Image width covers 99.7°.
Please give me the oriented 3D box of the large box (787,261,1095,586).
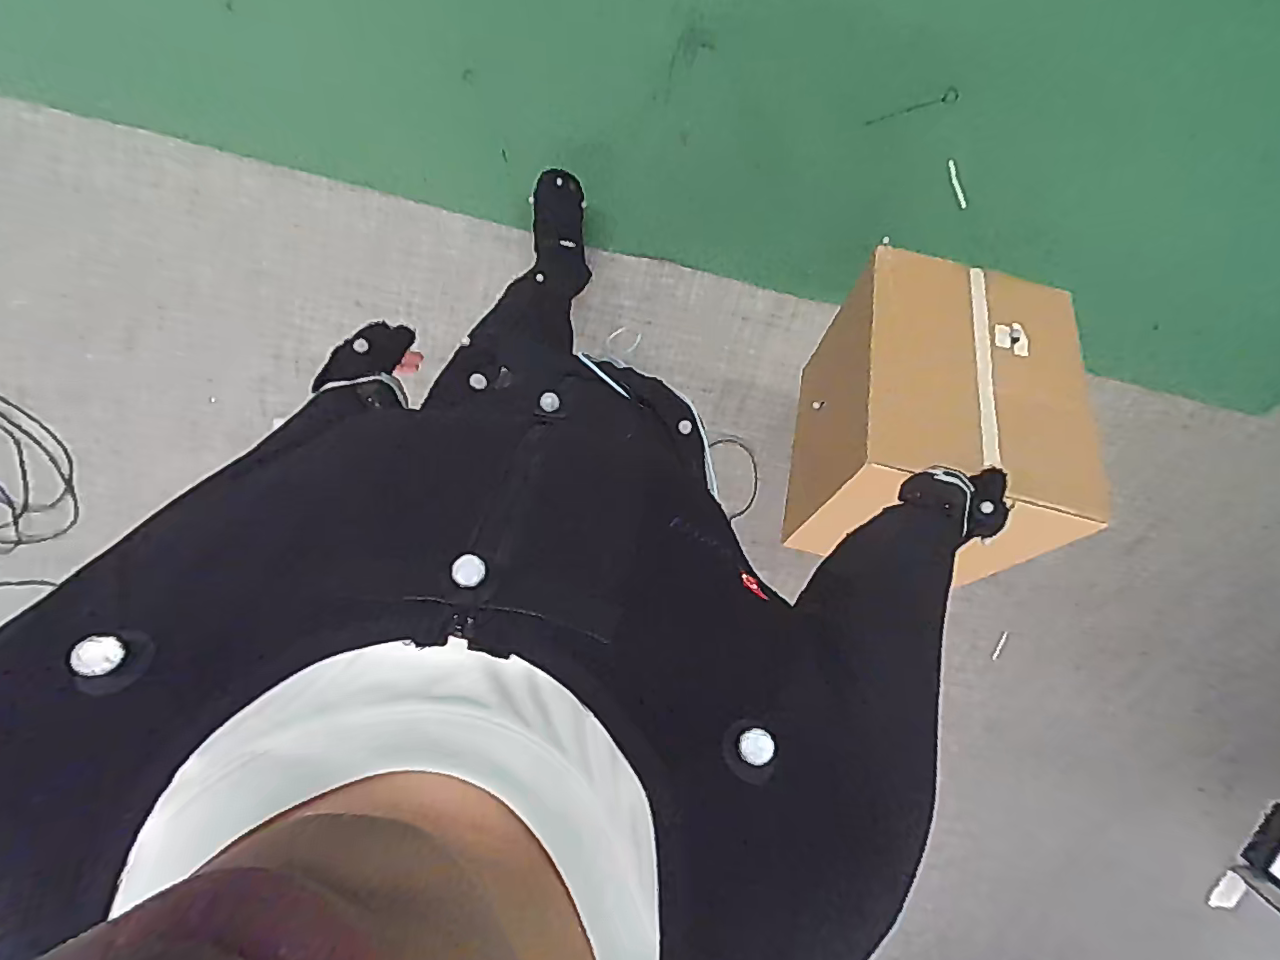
[{"bbox_3d":[0.456,-0.080,0.907,0.320,0.320,0.408,15,62,0],"label":"large box"}]
